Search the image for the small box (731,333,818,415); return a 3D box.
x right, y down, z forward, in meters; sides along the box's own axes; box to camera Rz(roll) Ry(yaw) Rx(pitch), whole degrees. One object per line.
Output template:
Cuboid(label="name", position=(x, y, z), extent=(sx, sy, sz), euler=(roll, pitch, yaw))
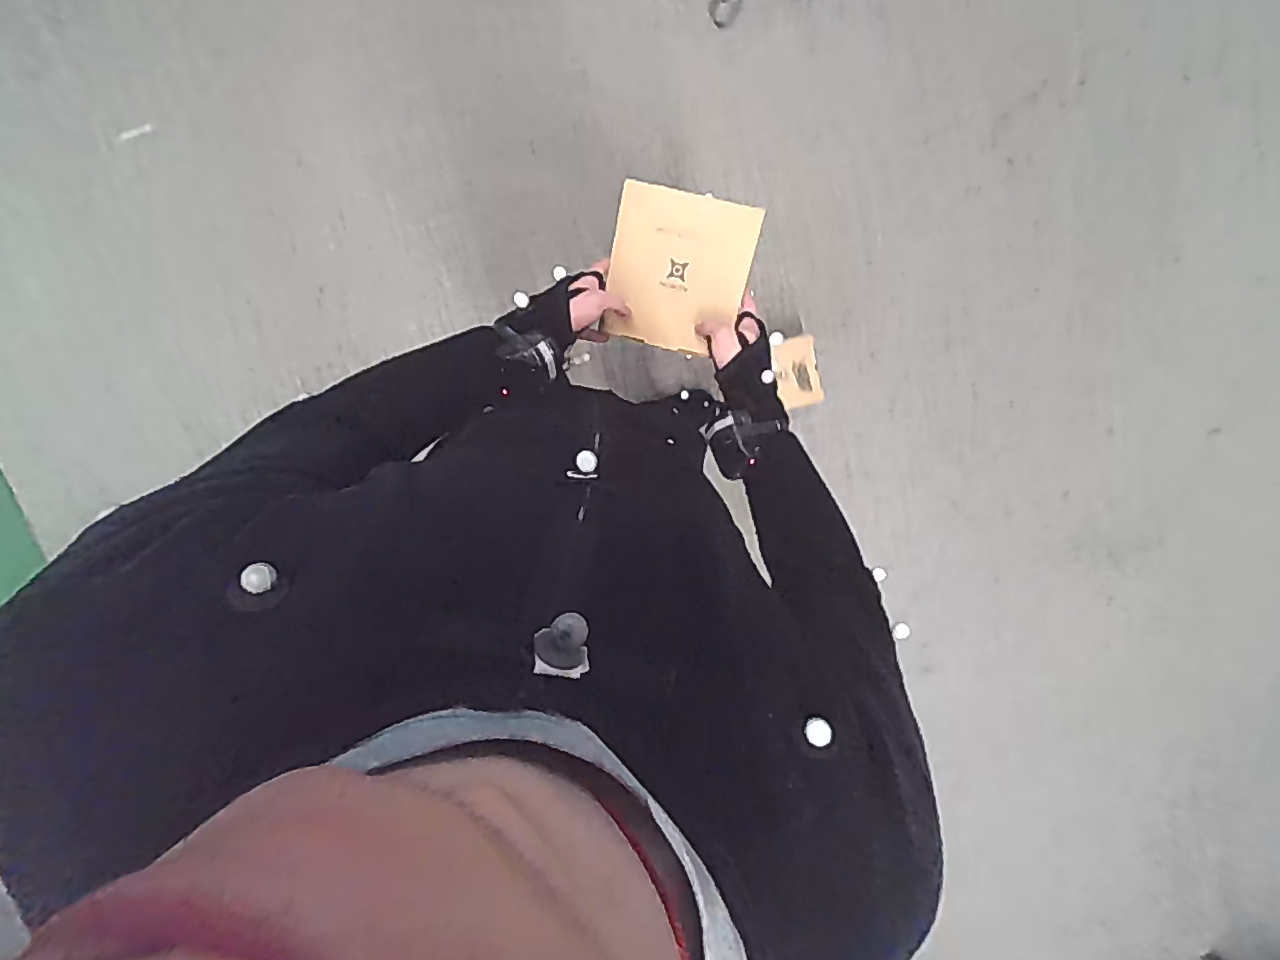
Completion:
Cuboid(label="small box", position=(0.341, -0.277, 1.389), extent=(0.179, 0.176, 0.168), euler=(-13, 104, 9))

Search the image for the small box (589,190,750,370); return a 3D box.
Cuboid(label="small box", position=(0.040, -0.260, 0.709), extent=(0.168, 0.176, 0.179), euler=(12, 112, 2))
